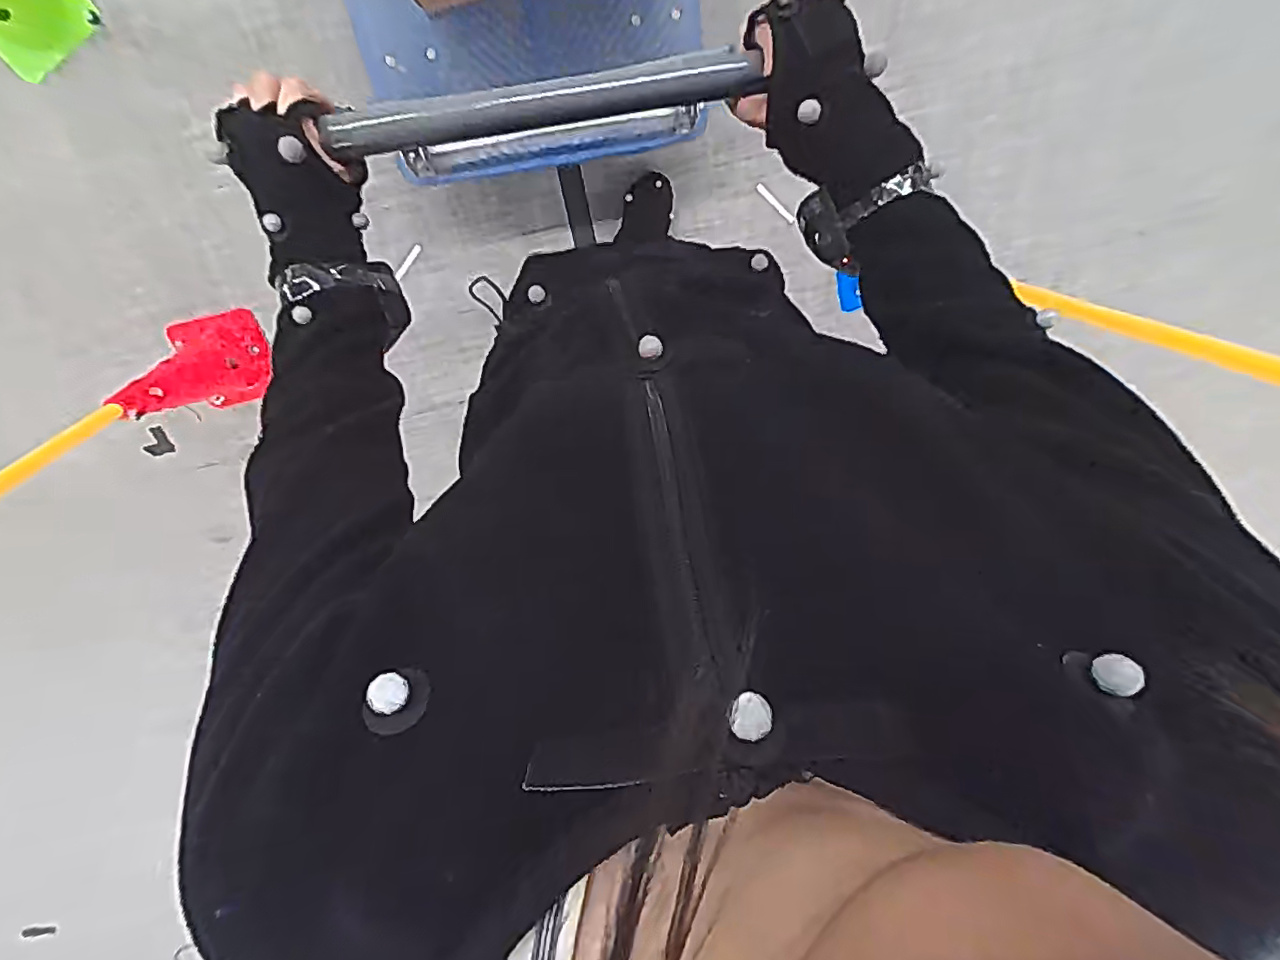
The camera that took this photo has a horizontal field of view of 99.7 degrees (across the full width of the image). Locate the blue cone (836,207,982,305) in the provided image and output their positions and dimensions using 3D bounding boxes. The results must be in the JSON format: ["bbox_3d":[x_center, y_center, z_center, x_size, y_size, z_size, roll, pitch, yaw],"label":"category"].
[{"bbox_3d":[0.594,-0.466,1.161,0.193,0.380,0.192,-17,116,1],"label":"blue cone"}]
